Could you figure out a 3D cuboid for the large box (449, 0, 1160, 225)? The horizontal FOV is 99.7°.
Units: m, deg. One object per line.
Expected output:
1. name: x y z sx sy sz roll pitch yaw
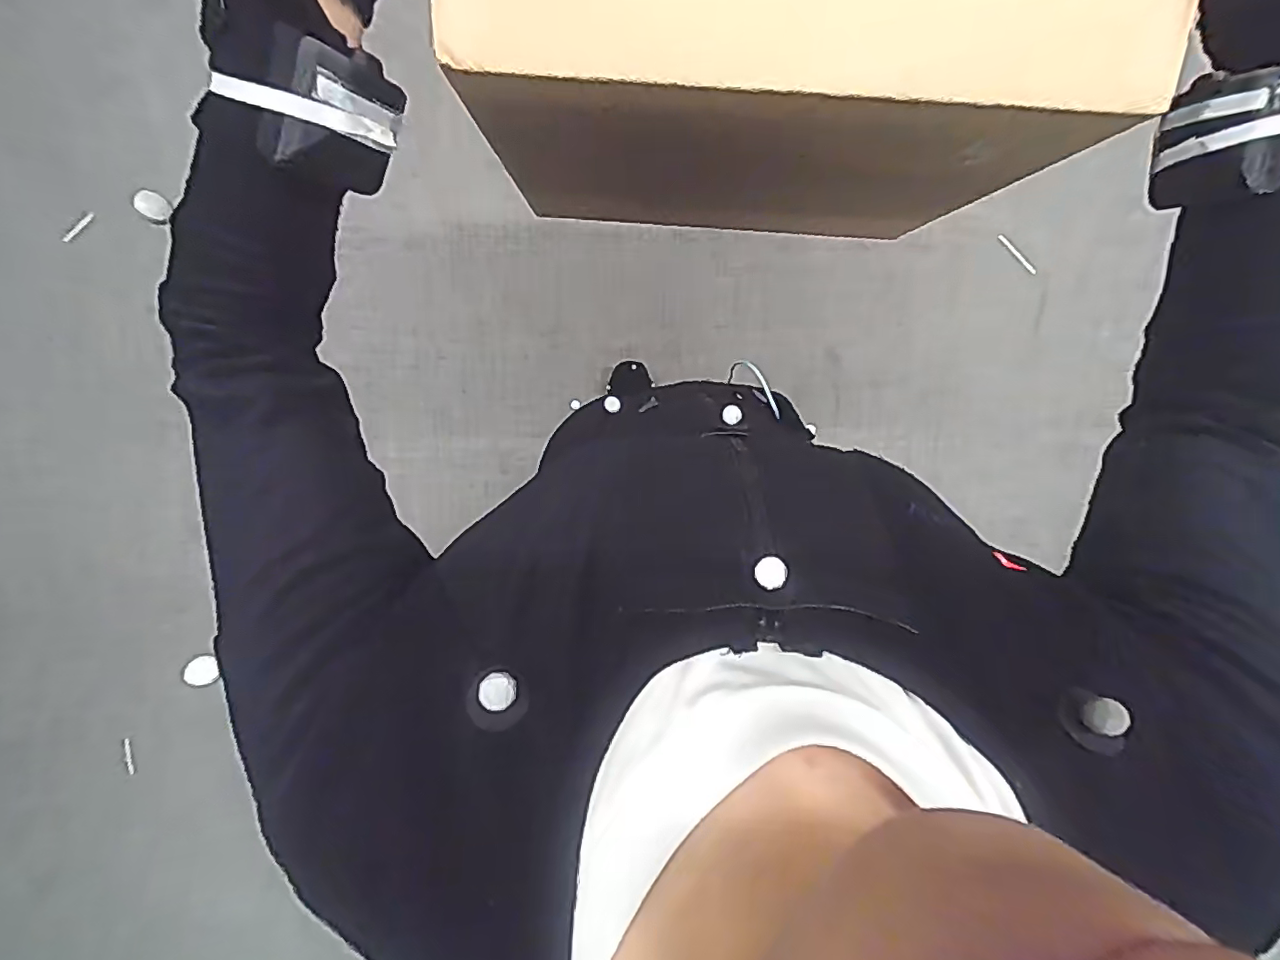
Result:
1. large box: 0.091 -0.405 0.422 0.408 0.320 0.320 2 103 -1
